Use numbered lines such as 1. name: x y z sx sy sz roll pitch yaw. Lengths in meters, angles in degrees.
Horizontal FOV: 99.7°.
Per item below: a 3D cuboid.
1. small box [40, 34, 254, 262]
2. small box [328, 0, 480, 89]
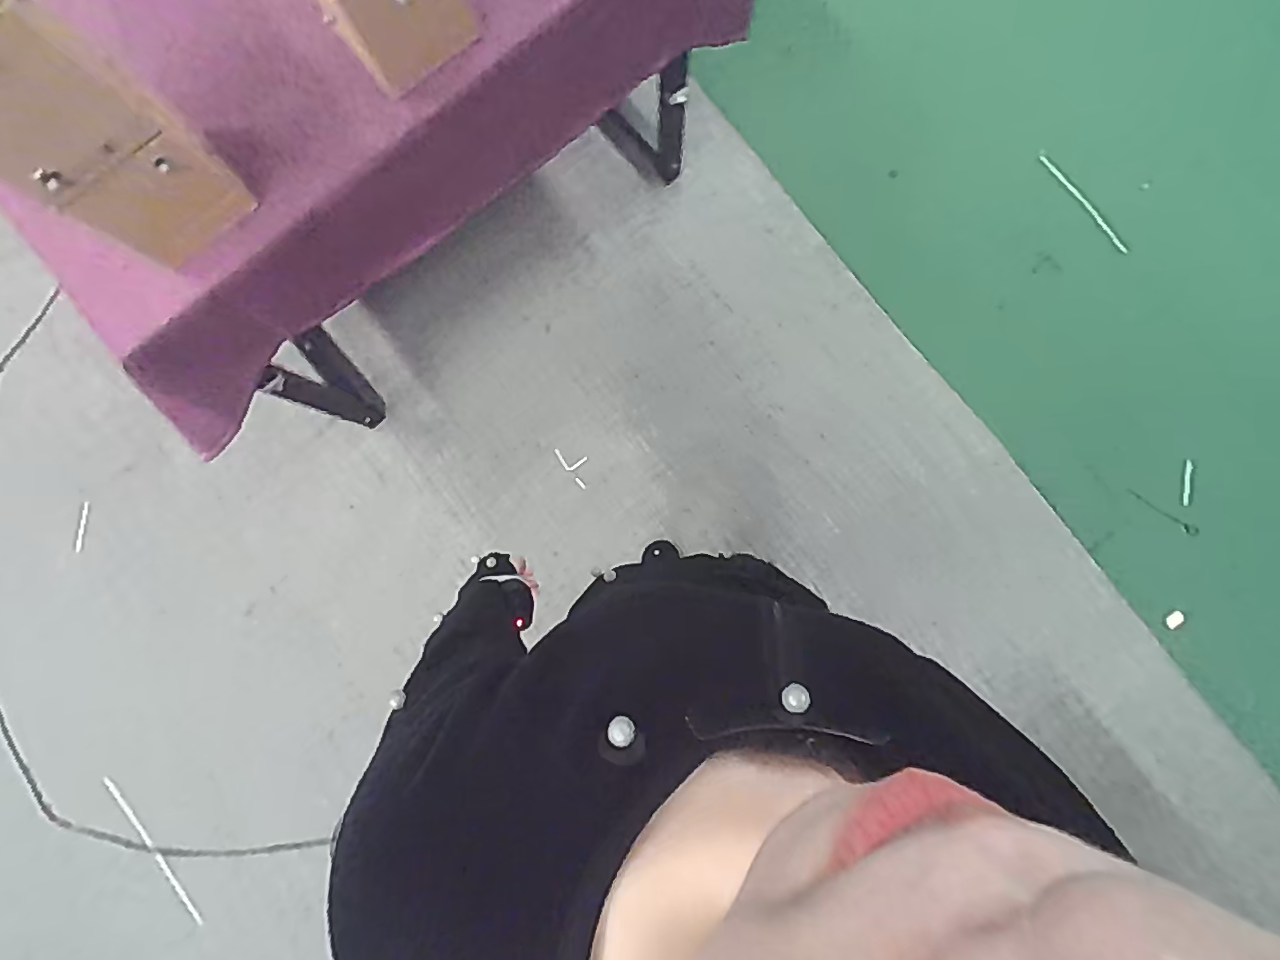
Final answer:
1. small box: -0.706 -0.447 0.758 0.179 0.176 0.168 -40 85 -3
2. small box: -0.362 -0.722 0.773 0.179 0.176 0.168 -38 86 -2
